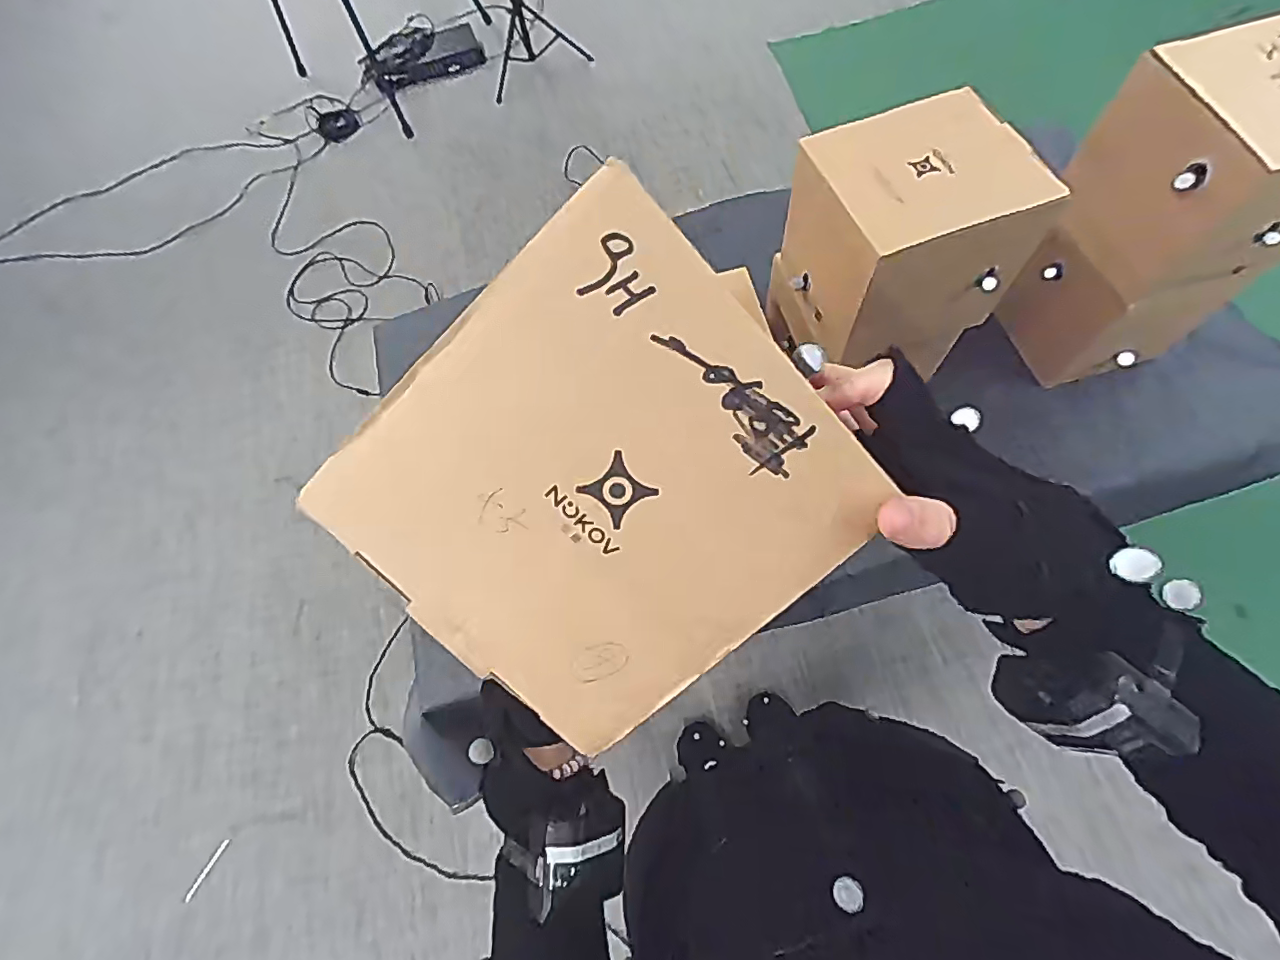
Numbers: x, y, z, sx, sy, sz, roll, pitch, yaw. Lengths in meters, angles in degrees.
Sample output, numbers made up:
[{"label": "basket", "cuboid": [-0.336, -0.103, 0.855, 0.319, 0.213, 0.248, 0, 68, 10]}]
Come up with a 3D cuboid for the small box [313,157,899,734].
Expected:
[{"label": "small box", "cuboid": [-0.012, -0.018, 0.288, 0.179, 0.176, 0.168, -41, 101, 12]}]

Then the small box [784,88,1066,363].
[{"label": "small box", "cuboid": [0.269, -0.252, 0.563, 0.179, 0.176, 0.168, -18, 66, 0]}]

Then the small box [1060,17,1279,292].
[{"label": "small box", "cuboid": [0.583, -0.316, 0.550, 0.168, 0.176, 0.179, -14, 66, 1]}]
